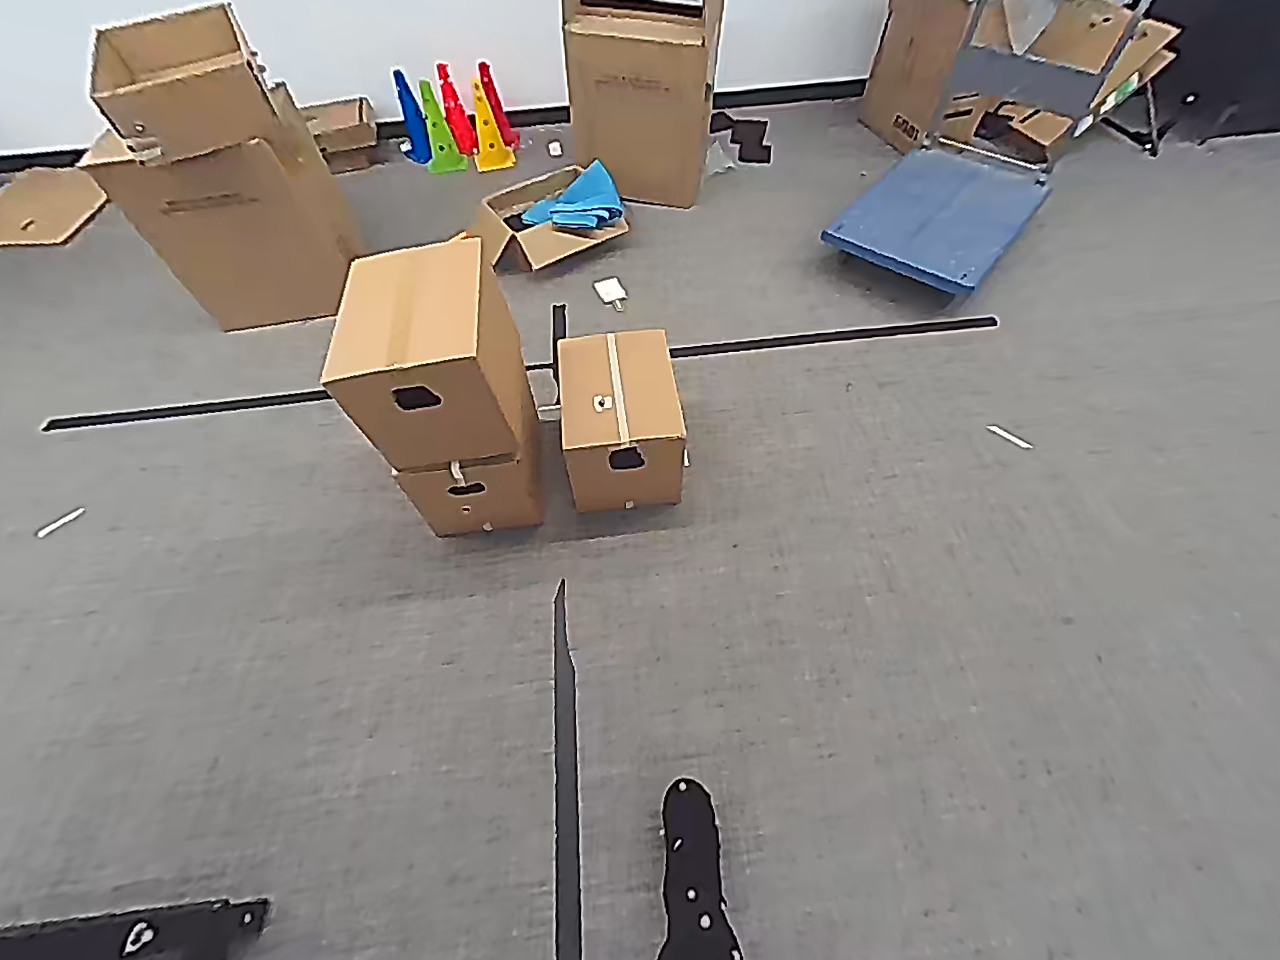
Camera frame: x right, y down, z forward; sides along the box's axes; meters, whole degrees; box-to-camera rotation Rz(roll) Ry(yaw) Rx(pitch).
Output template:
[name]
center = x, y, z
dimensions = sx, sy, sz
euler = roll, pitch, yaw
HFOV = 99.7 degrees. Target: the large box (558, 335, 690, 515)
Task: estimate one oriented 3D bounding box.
[large box]
center = -0.052, -0.157, 1.569
dimensions = 0.320, 0.320, 0.408
euler = -8, 56, -2
